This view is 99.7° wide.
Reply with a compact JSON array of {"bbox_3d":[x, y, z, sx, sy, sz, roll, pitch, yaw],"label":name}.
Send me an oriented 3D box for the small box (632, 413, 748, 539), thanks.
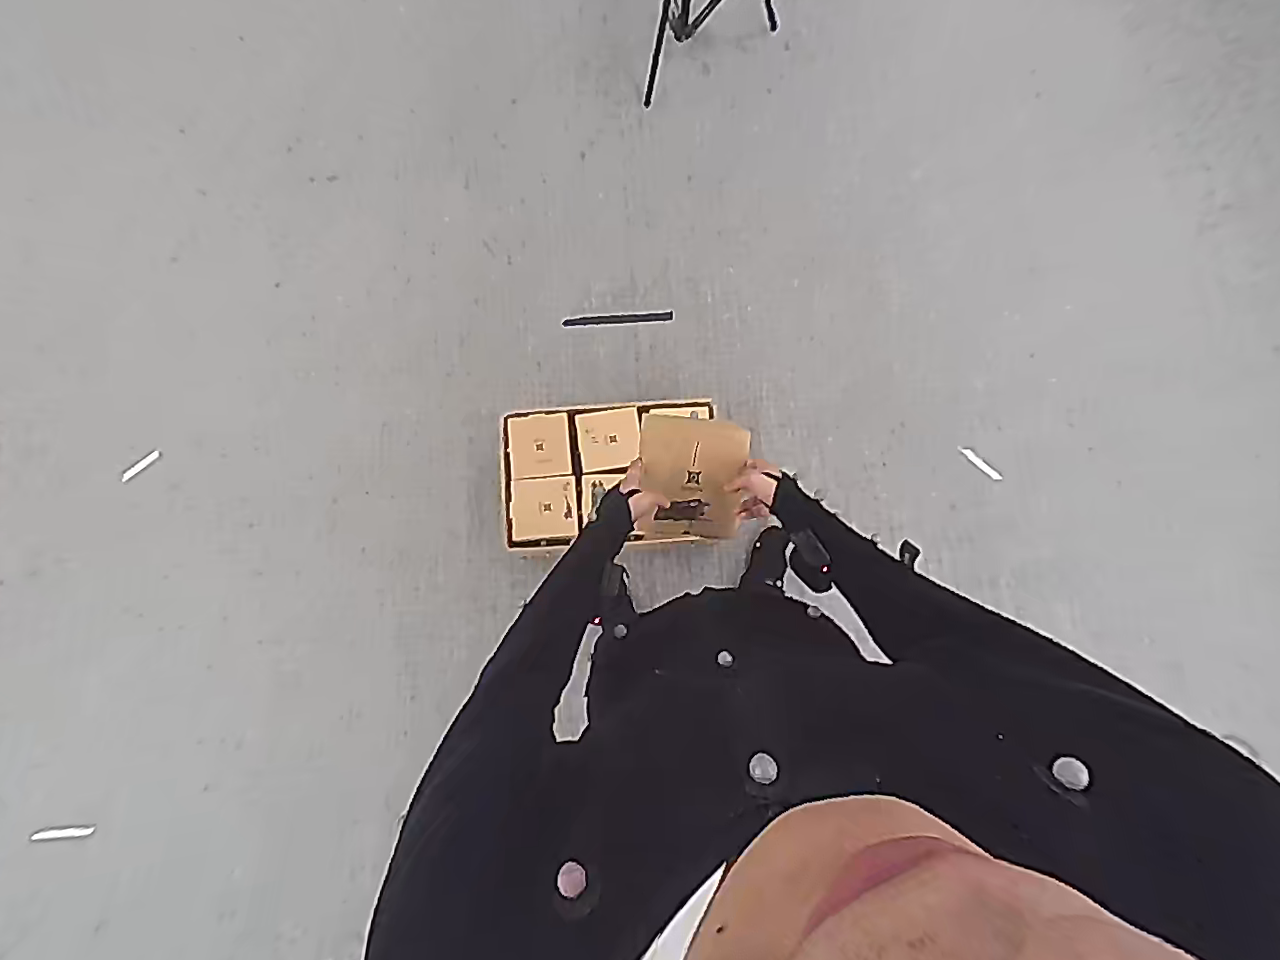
[{"bbox_3d":[0.076,-0.014,0.920,0.168,0.176,0.179,5,101,-2],"label":"small box"}]
